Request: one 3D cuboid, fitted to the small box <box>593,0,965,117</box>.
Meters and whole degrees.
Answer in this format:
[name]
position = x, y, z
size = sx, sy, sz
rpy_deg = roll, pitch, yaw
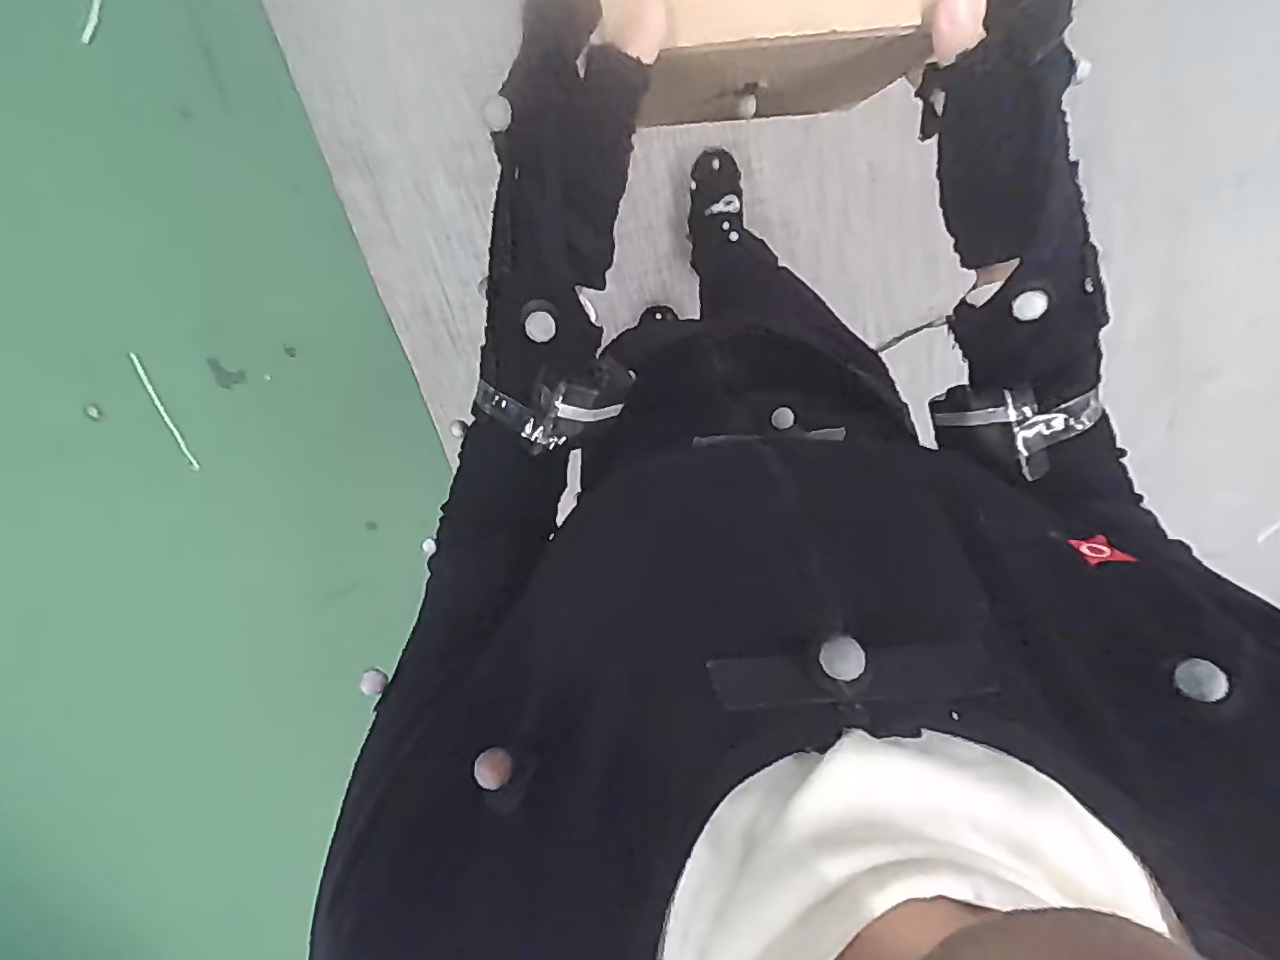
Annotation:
[small box]
position = 0.061, -0.318, 0.297
size = 0.179, 0.176, 0.168
rpy_deg = -4, 113, 3
